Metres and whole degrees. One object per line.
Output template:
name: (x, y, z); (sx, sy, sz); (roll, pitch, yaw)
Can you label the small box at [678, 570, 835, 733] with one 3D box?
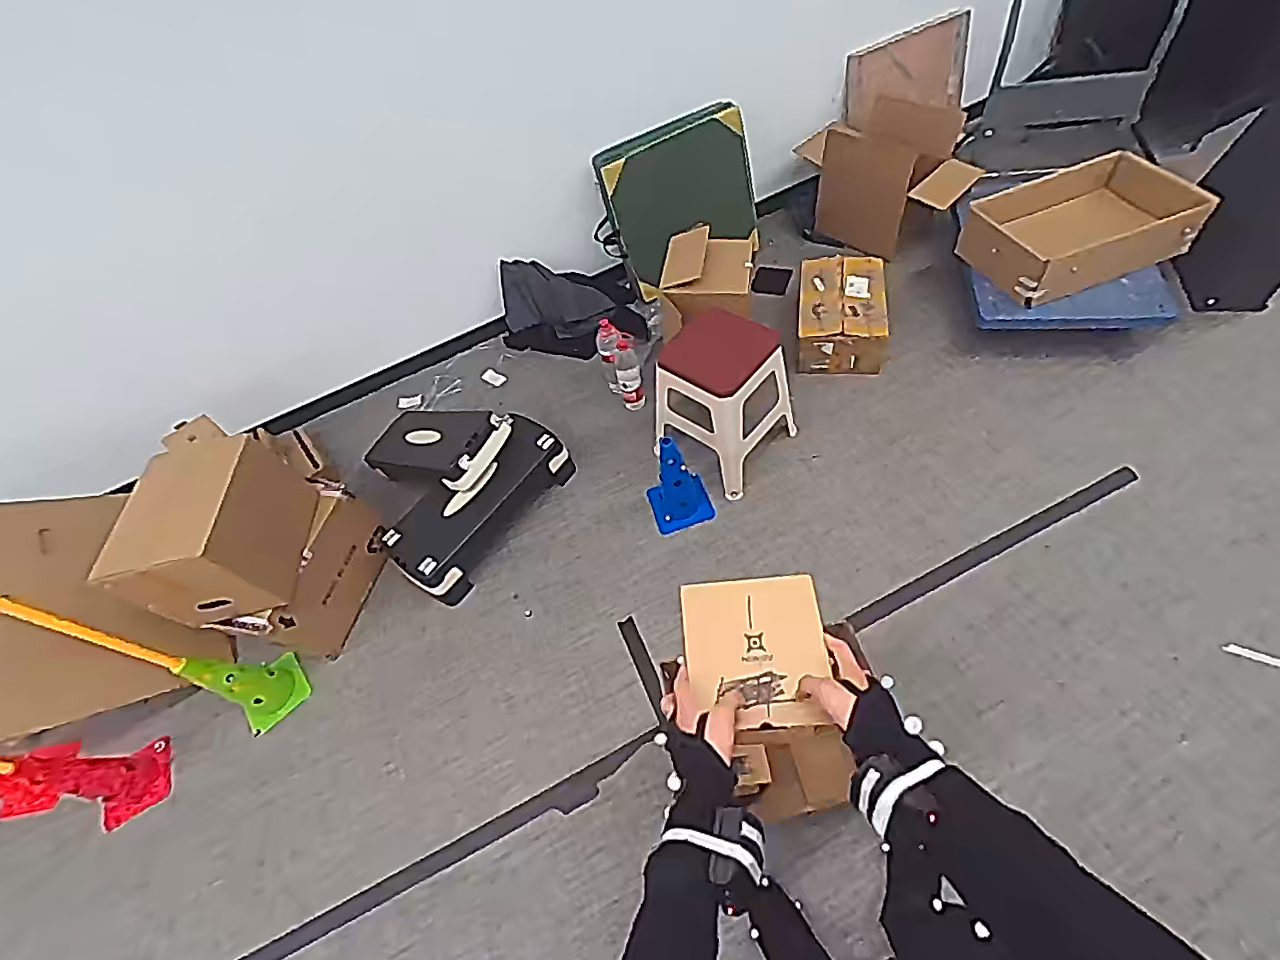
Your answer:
small box: (0.143, 0.233, 0.709); (0.168, 0.176, 0.179); (-6, 61, 6)
